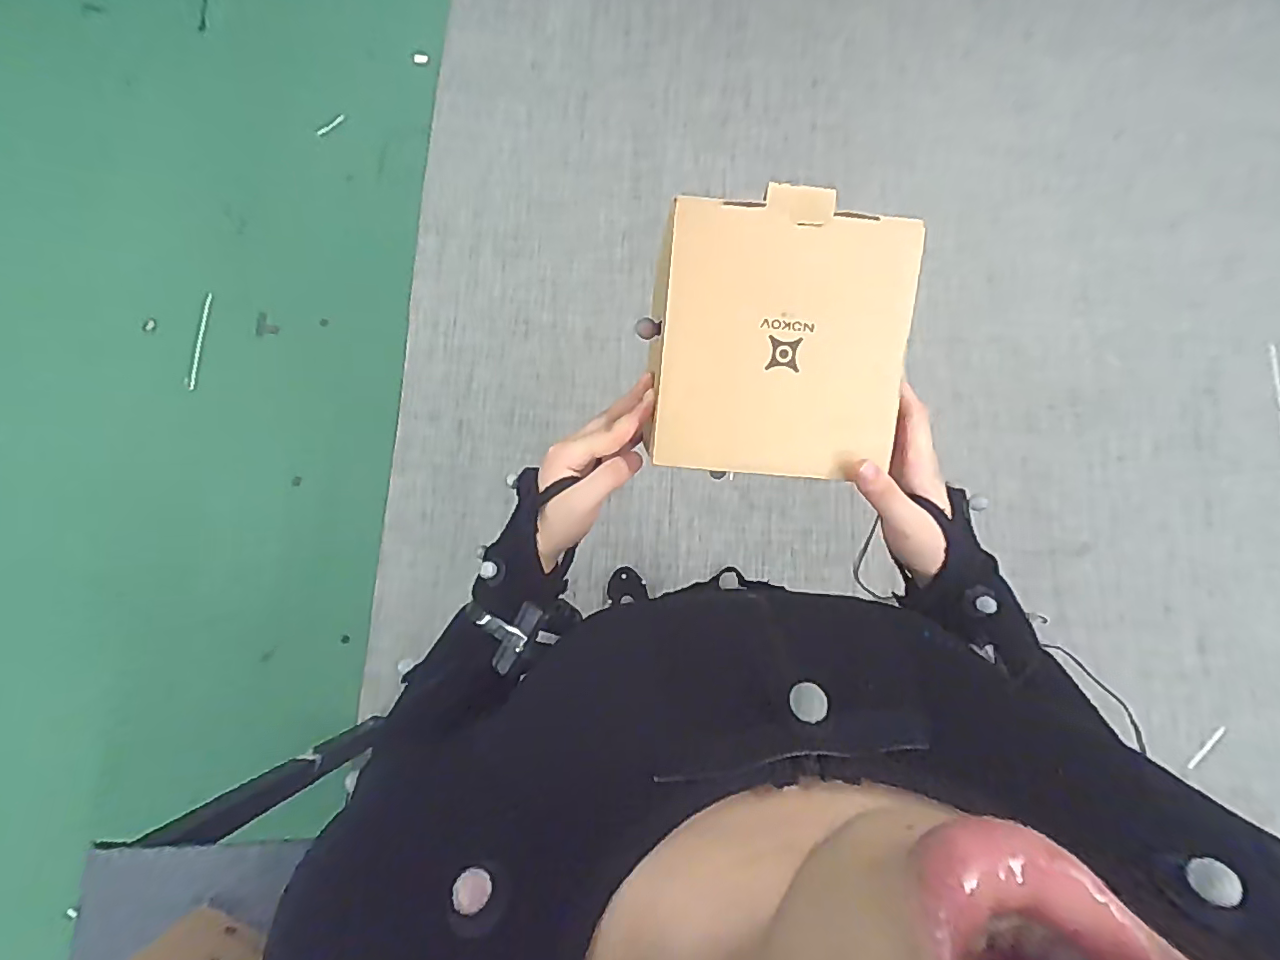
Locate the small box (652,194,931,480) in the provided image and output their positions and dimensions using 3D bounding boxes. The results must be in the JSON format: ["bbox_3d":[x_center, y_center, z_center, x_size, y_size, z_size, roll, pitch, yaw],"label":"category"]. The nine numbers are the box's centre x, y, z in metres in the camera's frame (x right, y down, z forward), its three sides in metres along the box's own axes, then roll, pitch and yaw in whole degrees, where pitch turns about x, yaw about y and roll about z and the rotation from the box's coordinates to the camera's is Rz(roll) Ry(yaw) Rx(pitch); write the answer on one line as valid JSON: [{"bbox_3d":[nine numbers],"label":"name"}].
[{"bbox_3d":[0.099,-0.102,0.437,0.168,0.176,0.179,4,97,-2],"label":"small box"}]

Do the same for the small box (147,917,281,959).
[{"bbox_3d":[-0.541,0.667,0.622,0.168,0.176,0.179,22,84,6],"label":"small box"}]
